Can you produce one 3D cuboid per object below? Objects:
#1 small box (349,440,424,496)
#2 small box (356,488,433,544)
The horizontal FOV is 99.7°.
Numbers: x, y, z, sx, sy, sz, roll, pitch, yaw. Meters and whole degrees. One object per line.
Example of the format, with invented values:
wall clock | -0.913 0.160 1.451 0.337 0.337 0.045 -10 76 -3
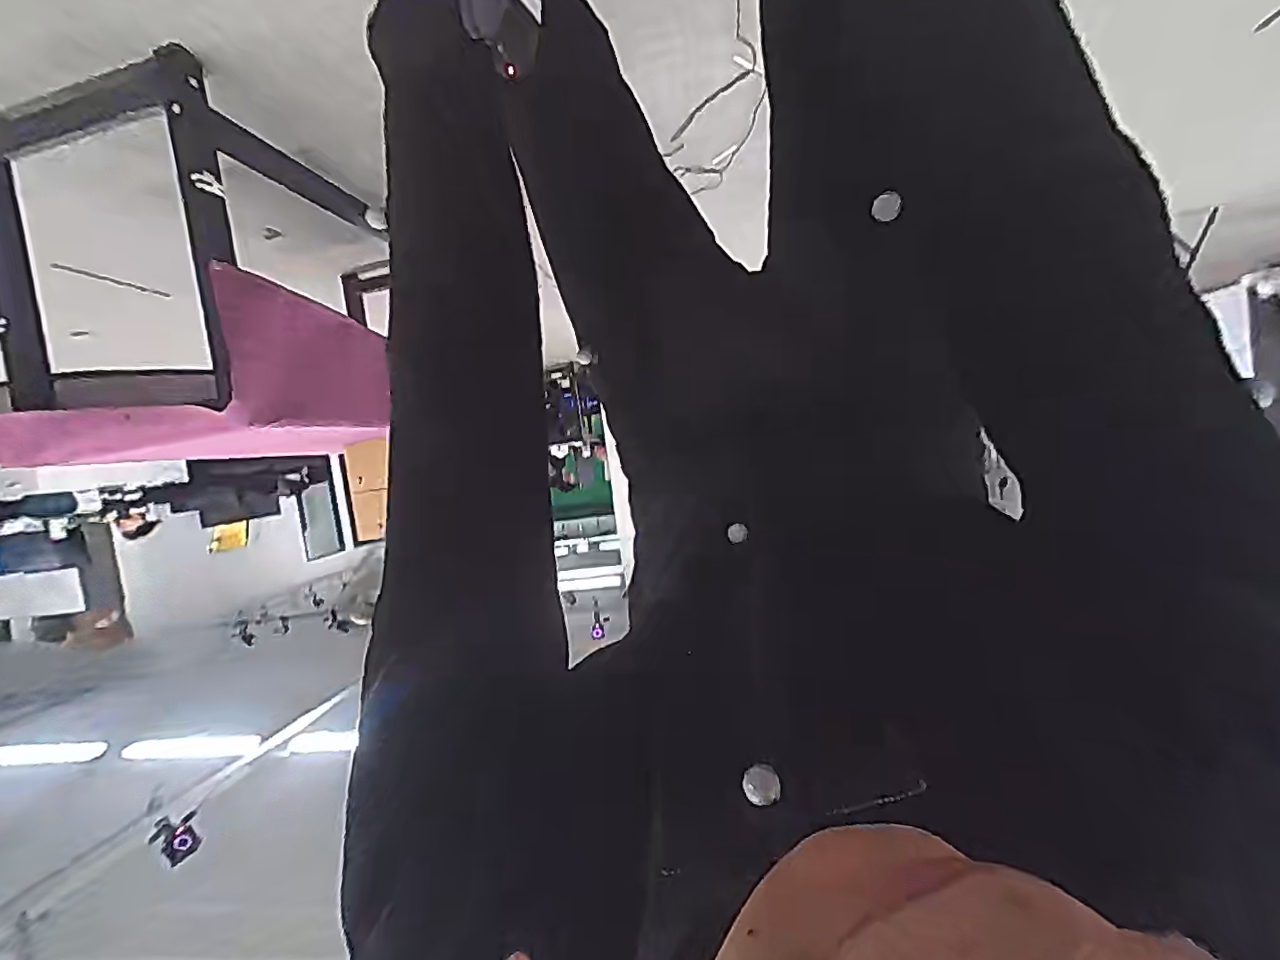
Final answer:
small box | -0.886 -0.044 1.887 0.179 0.176 0.168 -8 -177 11
small box | -0.862 0.119 1.898 0.179 0.176 0.168 -7 -177 15
